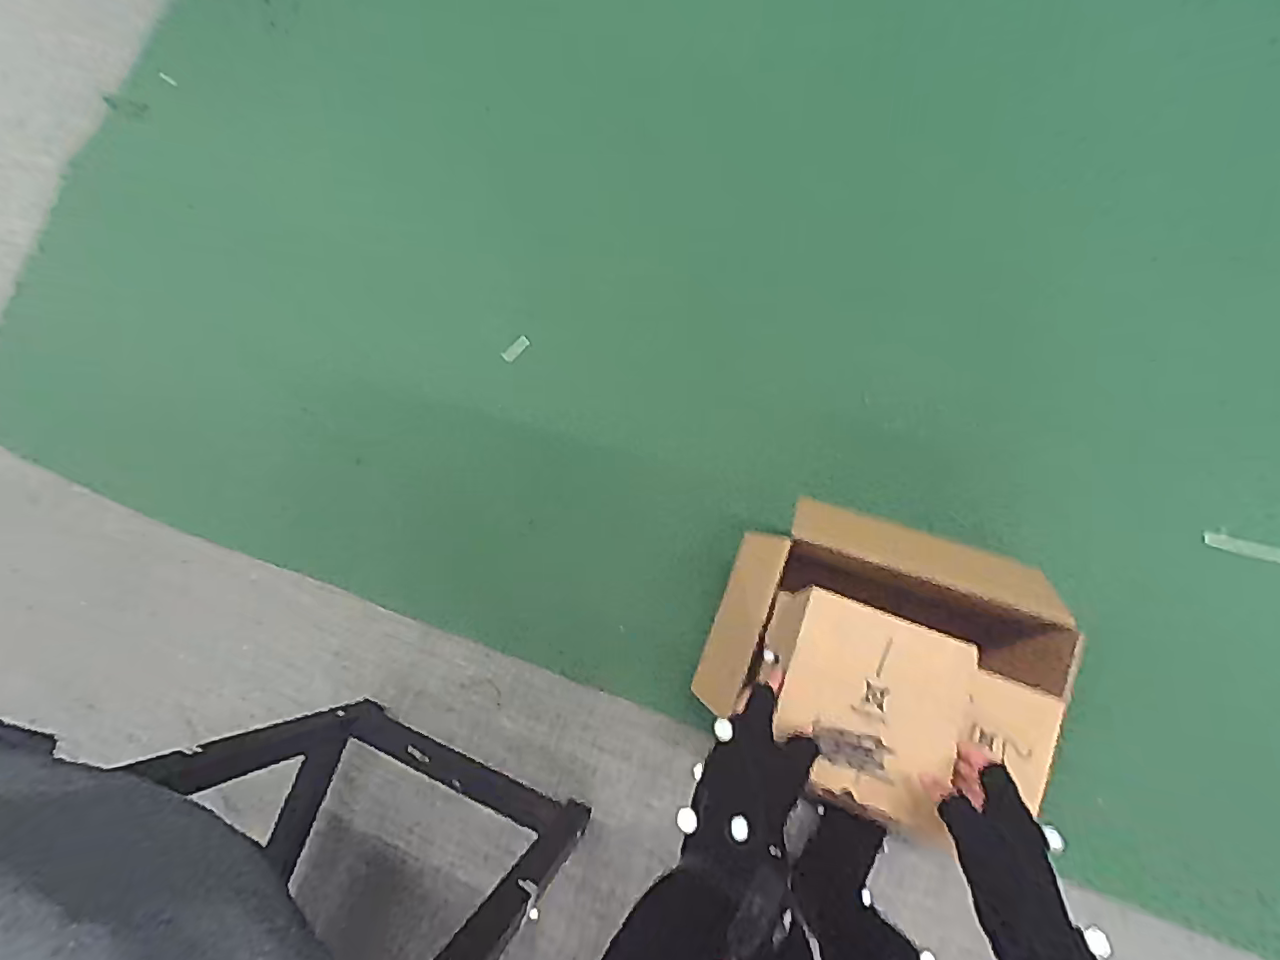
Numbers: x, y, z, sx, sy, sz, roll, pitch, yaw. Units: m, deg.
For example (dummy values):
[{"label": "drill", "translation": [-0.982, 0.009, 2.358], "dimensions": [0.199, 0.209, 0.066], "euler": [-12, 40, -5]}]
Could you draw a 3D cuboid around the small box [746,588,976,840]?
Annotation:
[{"label": "small box", "translation": [0.219, 0.235, 0.581], "dimensions": [0.168, 0.176, 0.179], "euler": [19, 75, 10]}]
